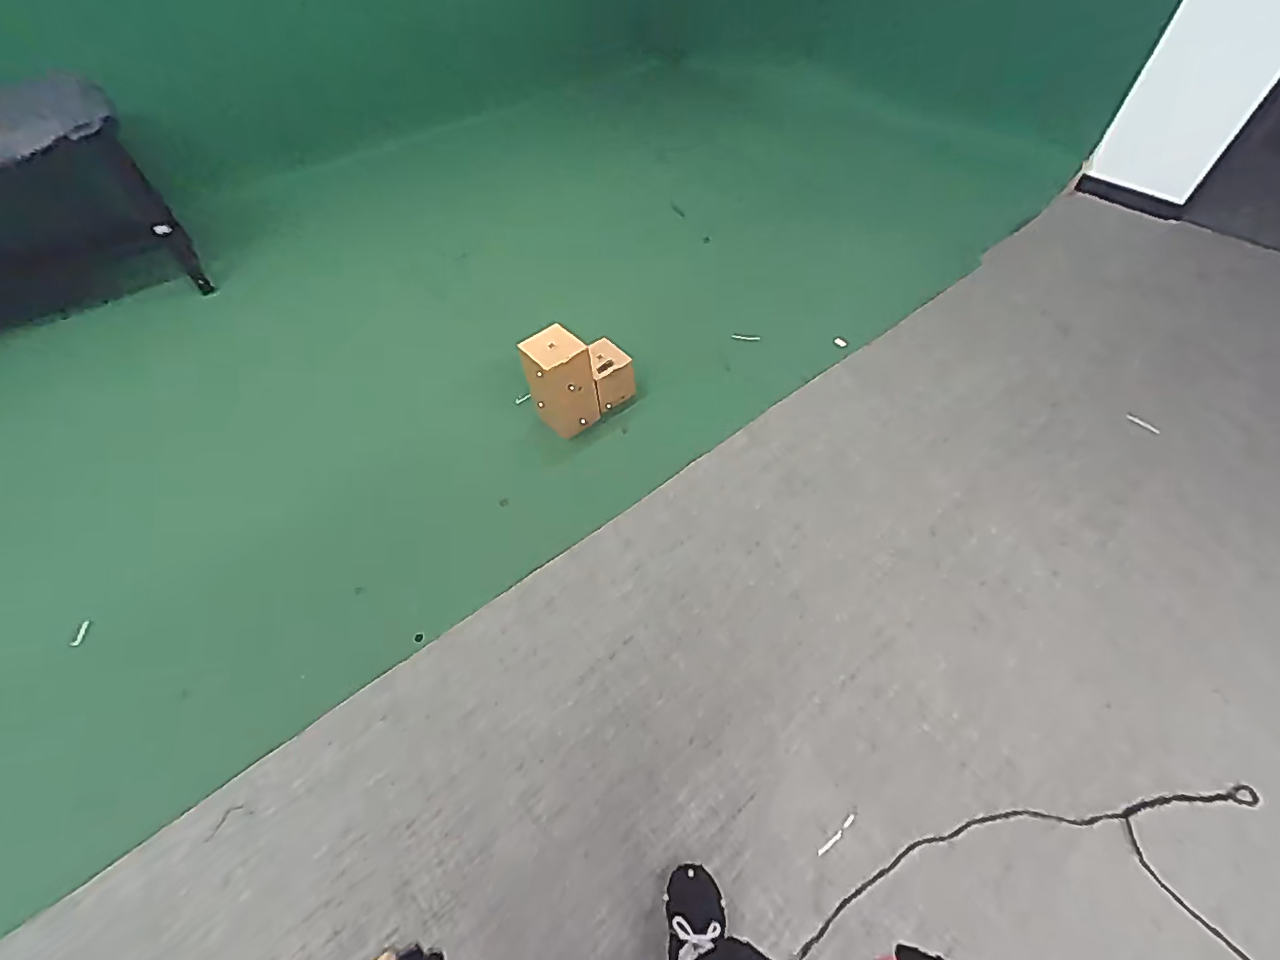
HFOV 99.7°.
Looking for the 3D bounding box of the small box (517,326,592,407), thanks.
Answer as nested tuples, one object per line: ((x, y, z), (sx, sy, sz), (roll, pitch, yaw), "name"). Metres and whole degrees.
((-0.281, -0.375, 1.805), (0.168, 0.176, 0.179), (-37, 60, -22), "small box")
